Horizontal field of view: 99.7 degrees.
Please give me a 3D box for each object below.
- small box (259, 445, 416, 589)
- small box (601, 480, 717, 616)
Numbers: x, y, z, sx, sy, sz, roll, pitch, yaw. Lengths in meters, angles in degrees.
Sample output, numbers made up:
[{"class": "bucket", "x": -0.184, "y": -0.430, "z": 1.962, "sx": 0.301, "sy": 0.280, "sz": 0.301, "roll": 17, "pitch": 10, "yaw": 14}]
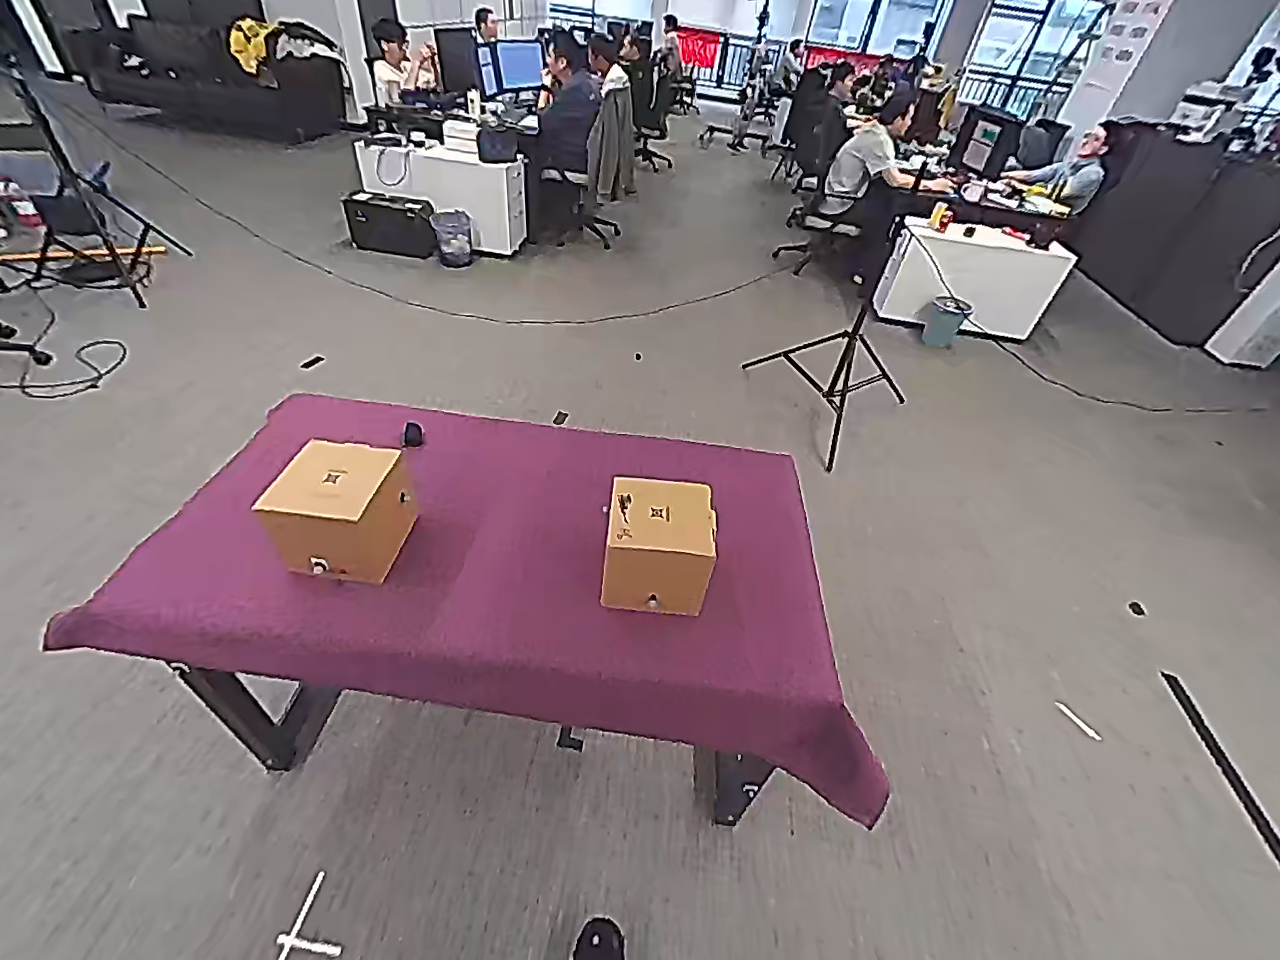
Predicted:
[{"class": "small box", "x": -0.509, "y": 0.064, "z": 0.945, "sx": 0.168, "sy": 0.176, "sz": 0.179, "roll": 6, "pitch": 42, "yaw": -1}, {"class": "small box", "x": 0.030, "y": 0.123, "z": 0.960, "sx": 0.179, "sy": 0.176, "sz": 0.168, "roll": 6, "pitch": 41, "yaw": -2}]
